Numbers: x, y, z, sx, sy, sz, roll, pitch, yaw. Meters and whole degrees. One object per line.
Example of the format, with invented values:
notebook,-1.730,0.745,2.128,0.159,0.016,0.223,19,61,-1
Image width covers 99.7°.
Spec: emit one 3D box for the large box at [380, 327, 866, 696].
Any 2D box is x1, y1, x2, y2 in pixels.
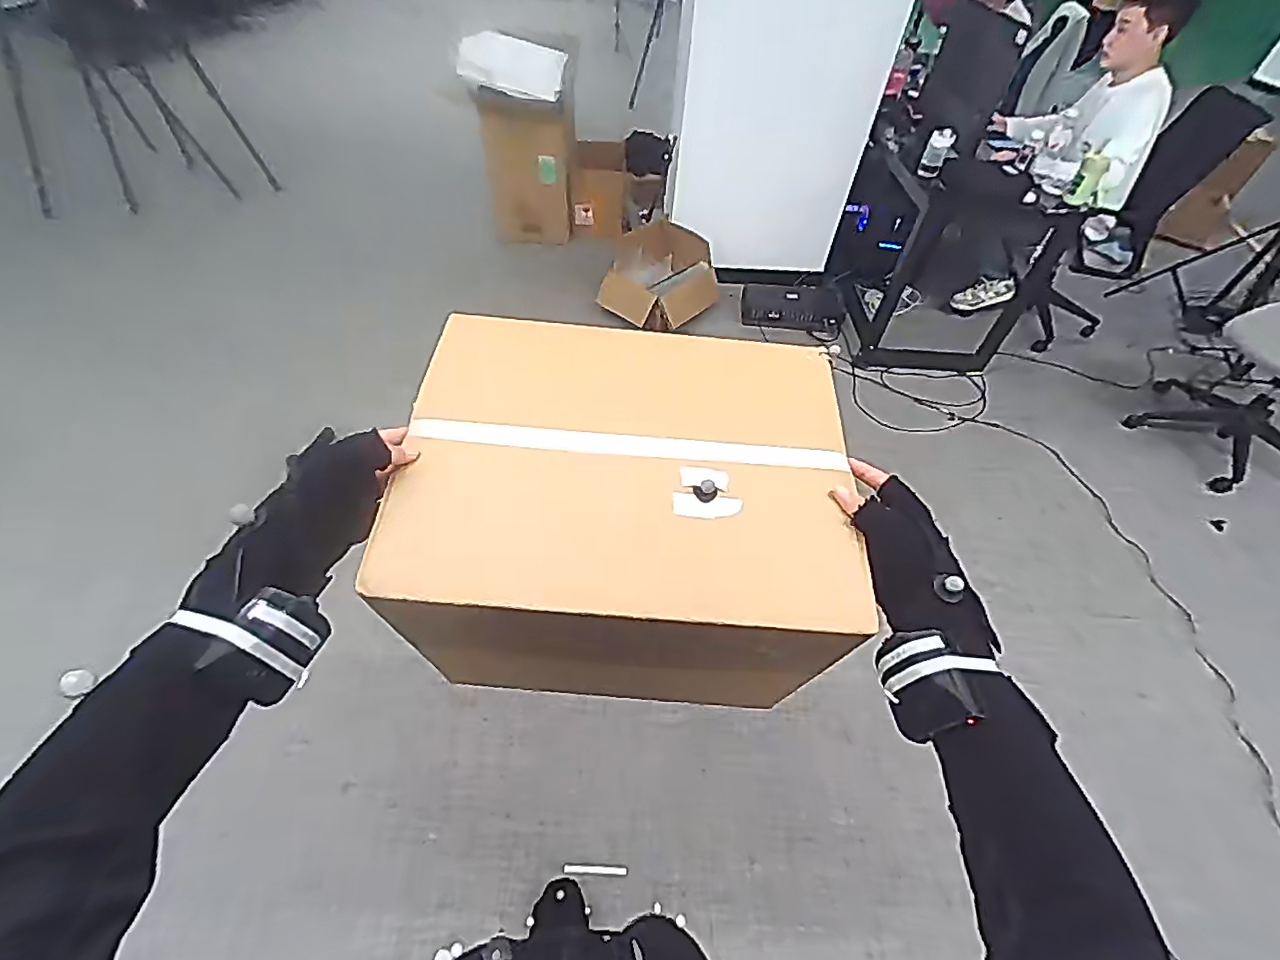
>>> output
large box,-0.017,0.055,0.638,0.408,0.320,0.320,5,58,-2
